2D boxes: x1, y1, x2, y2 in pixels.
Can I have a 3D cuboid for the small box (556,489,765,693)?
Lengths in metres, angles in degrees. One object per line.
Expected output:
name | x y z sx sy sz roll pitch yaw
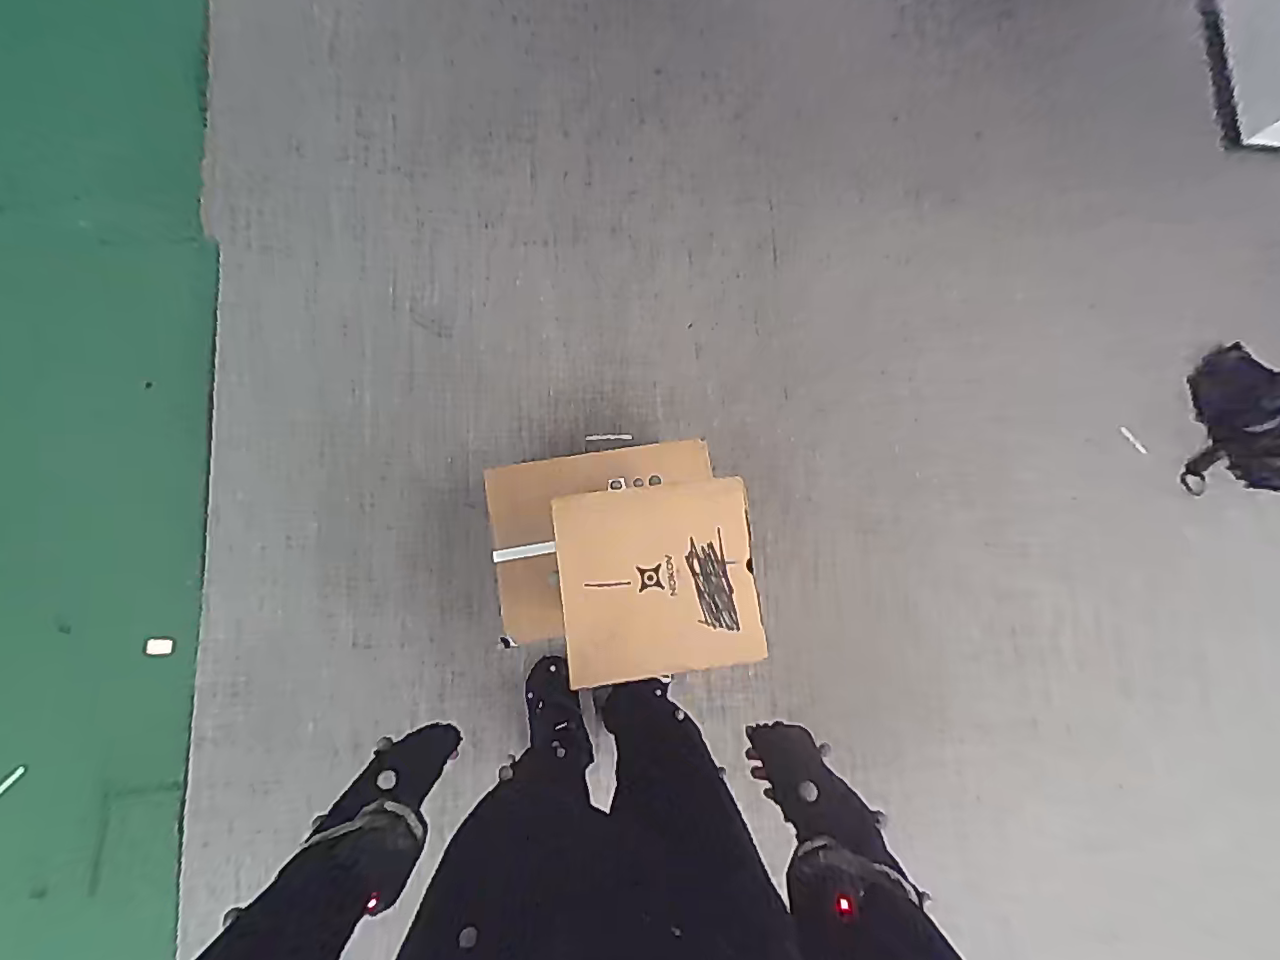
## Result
small box | 0.010 0.107 0.563 0.179 0.176 0.168 -6 82 -6
